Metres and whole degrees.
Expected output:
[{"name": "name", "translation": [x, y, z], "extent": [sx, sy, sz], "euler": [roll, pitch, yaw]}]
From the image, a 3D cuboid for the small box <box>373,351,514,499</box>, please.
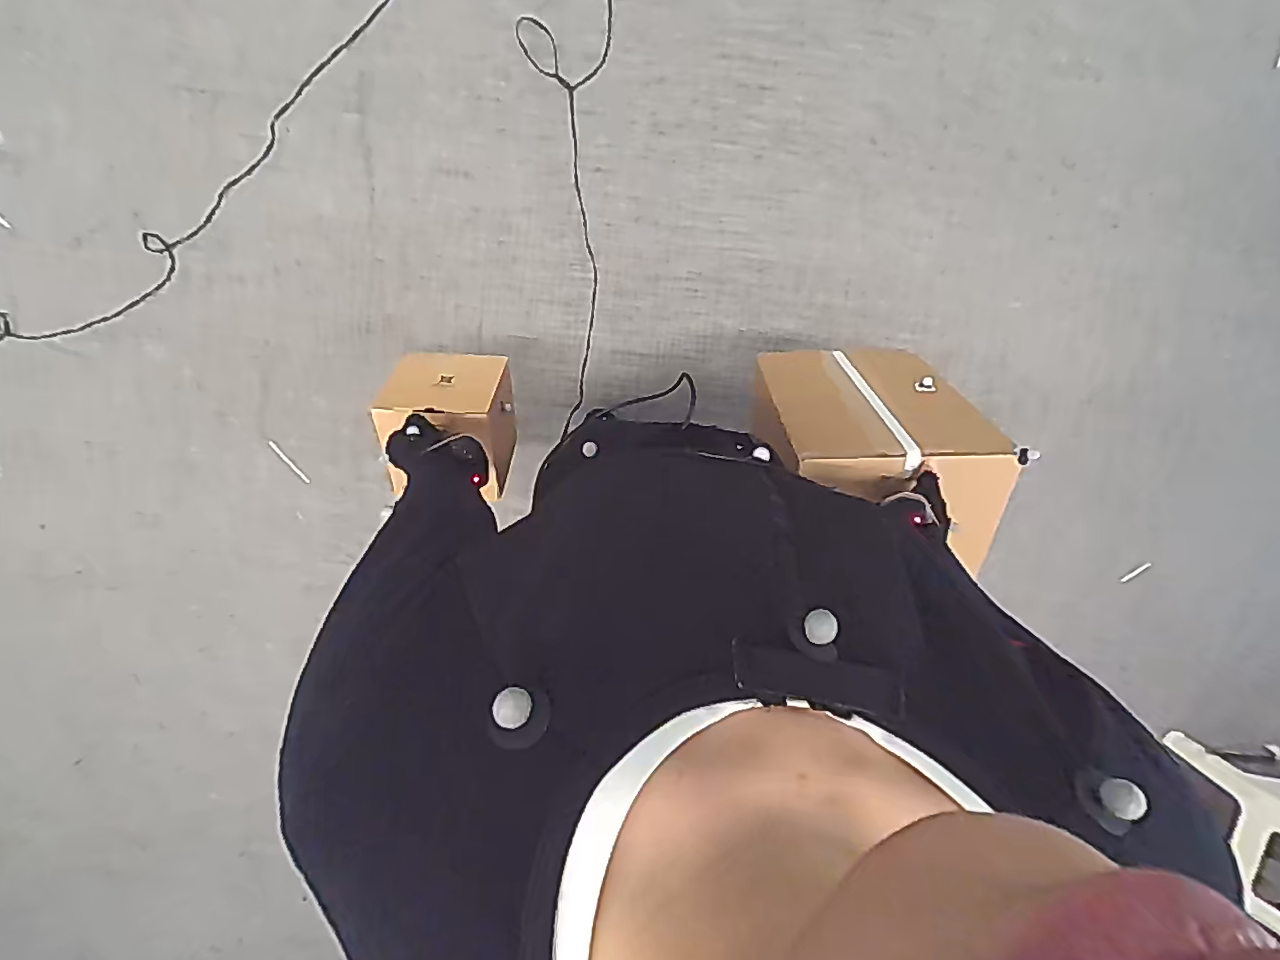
[{"name": "small box", "translation": [-0.304, -0.091, 0.881], "extent": [0.168, 0.179, 0.176], "euler": [2, 131, -3]}]
